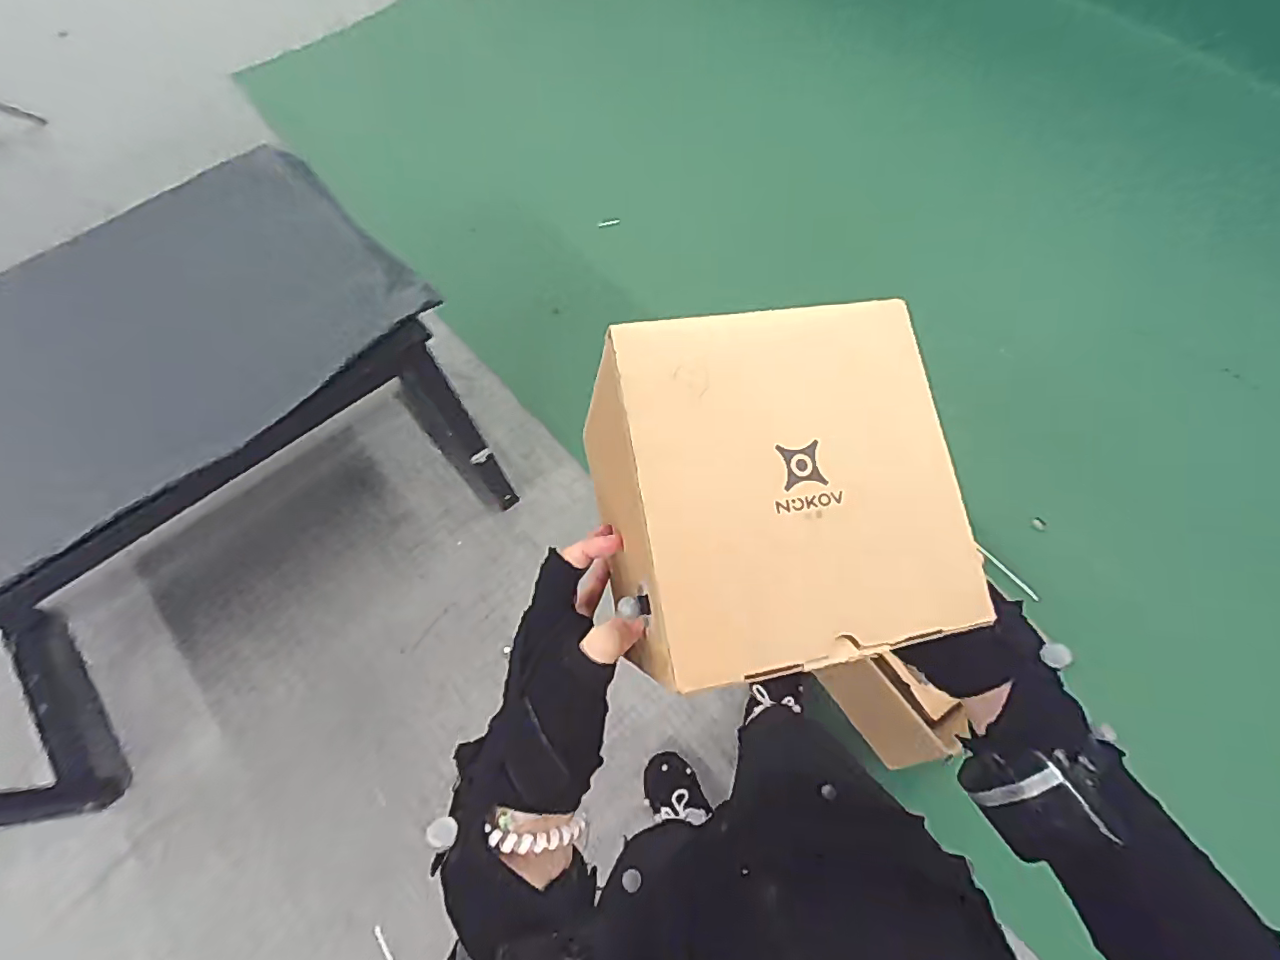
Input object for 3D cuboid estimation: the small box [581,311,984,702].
[{"bbox_3d":[0.061,0.018,0.340,0.168,0.176,0.179,-9,81,-12],"label":"small box"}]
